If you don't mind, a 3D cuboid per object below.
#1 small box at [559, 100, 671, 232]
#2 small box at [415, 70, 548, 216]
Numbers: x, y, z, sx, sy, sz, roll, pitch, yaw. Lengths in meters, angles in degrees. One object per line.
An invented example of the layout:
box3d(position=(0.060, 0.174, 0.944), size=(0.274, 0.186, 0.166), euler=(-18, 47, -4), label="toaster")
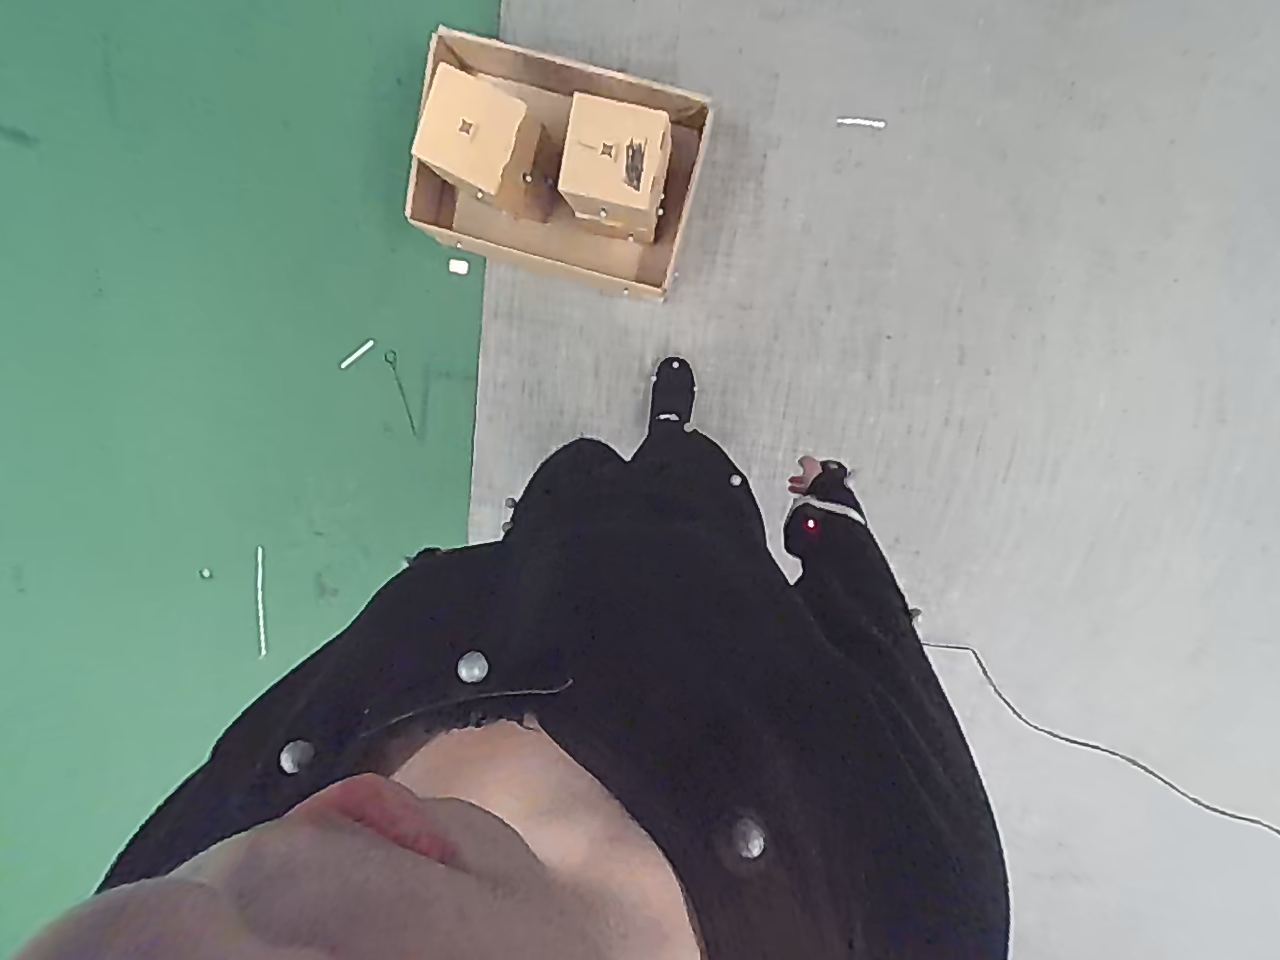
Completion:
box3d(position=(-0.041, -0.603, 1.062), size=(0.179, 0.176, 0.168), euler=(15, 103, 3), label="small box")
box3d(position=(-0.306, -0.654, 1.077), size=(0.179, 0.176, 0.168), euler=(25, 103, -3), label="small box")
